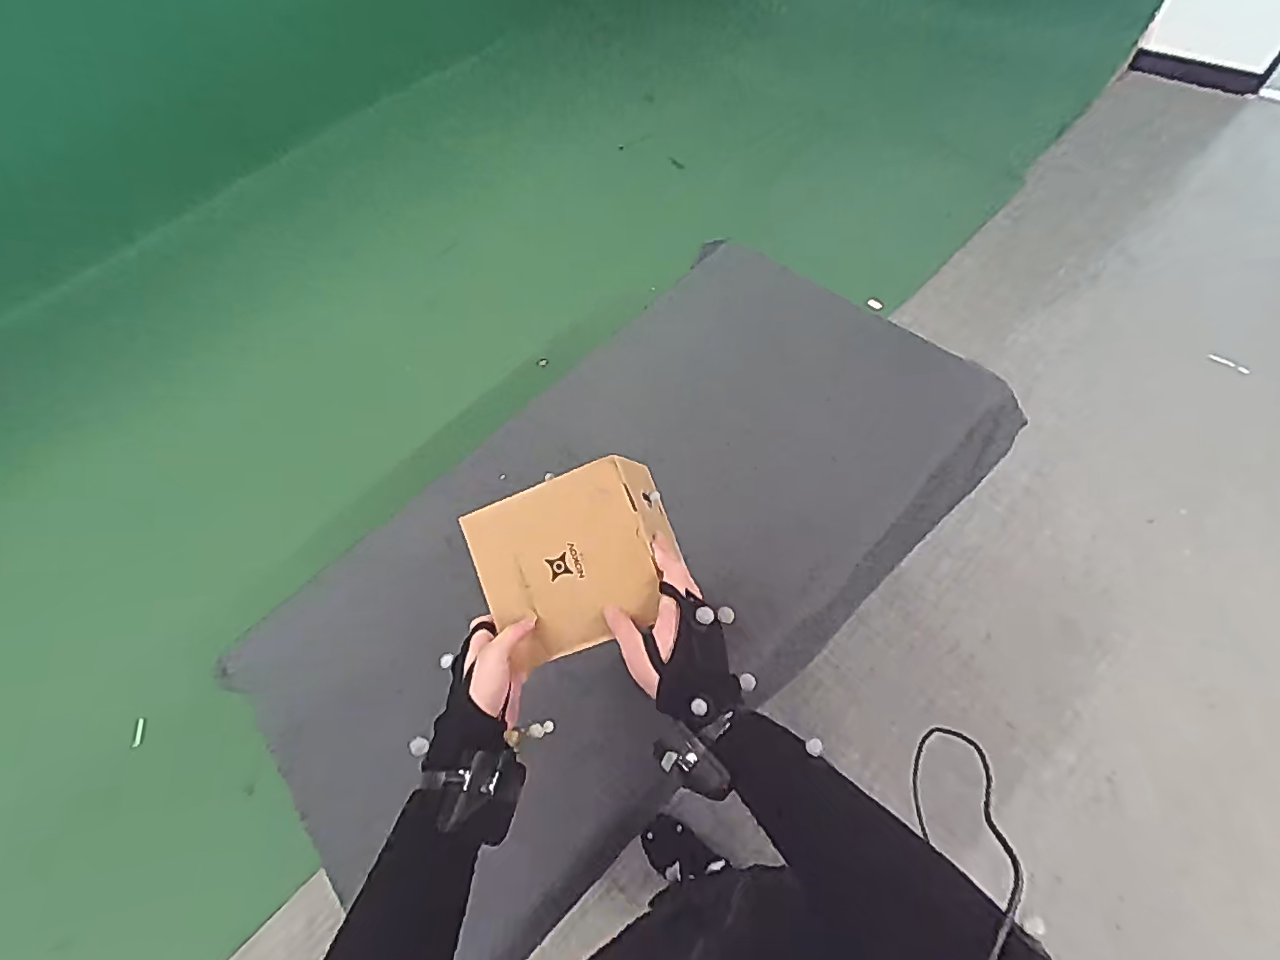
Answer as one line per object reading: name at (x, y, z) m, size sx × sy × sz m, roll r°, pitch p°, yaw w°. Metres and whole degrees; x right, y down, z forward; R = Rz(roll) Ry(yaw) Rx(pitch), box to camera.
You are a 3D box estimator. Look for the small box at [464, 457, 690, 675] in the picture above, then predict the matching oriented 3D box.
small box at (-0.053, 0.085, 0.586) m, size 0.179 × 0.176 × 0.168 m, roll -21°, pitch 81°, yaw 11°
